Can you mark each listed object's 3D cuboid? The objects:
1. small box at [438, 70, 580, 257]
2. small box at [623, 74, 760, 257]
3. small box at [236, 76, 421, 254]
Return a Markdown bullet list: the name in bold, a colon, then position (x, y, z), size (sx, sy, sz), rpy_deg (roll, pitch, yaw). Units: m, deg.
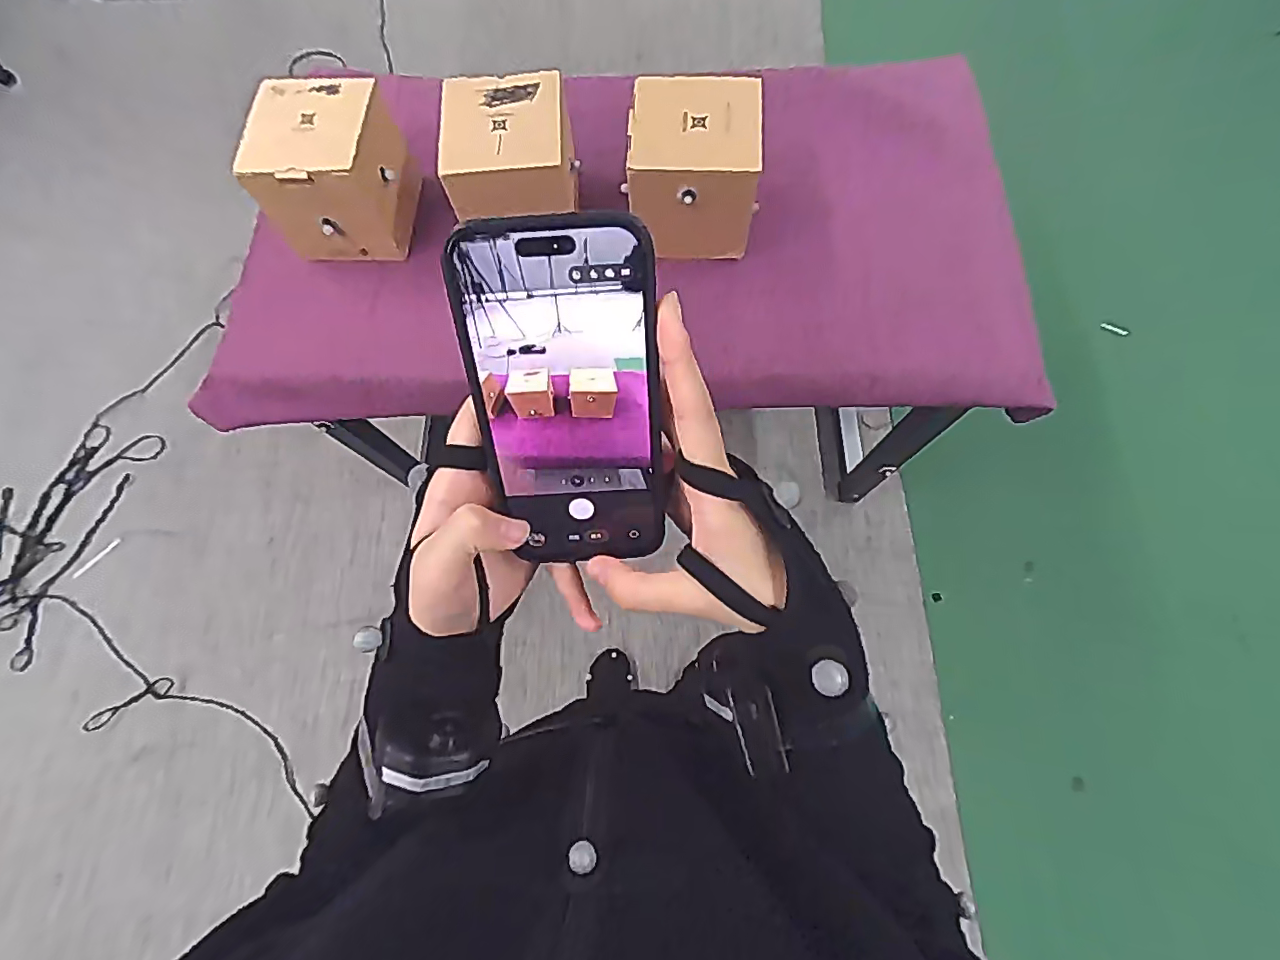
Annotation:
- **small box**: position (-0.184, -0.463, 0.807), size (0.168, 0.176, 0.179), rpy_deg (-4, 72, 1)
- **small box**: position (0.075, -0.452, 0.793), size (0.179, 0.176, 0.168), rpy_deg (4, 73, 3)
- **small box**: position (-0.452, -0.465, 0.818), size (0.168, 0.176, 0.179), rpy_deg (1, 73, 3)
